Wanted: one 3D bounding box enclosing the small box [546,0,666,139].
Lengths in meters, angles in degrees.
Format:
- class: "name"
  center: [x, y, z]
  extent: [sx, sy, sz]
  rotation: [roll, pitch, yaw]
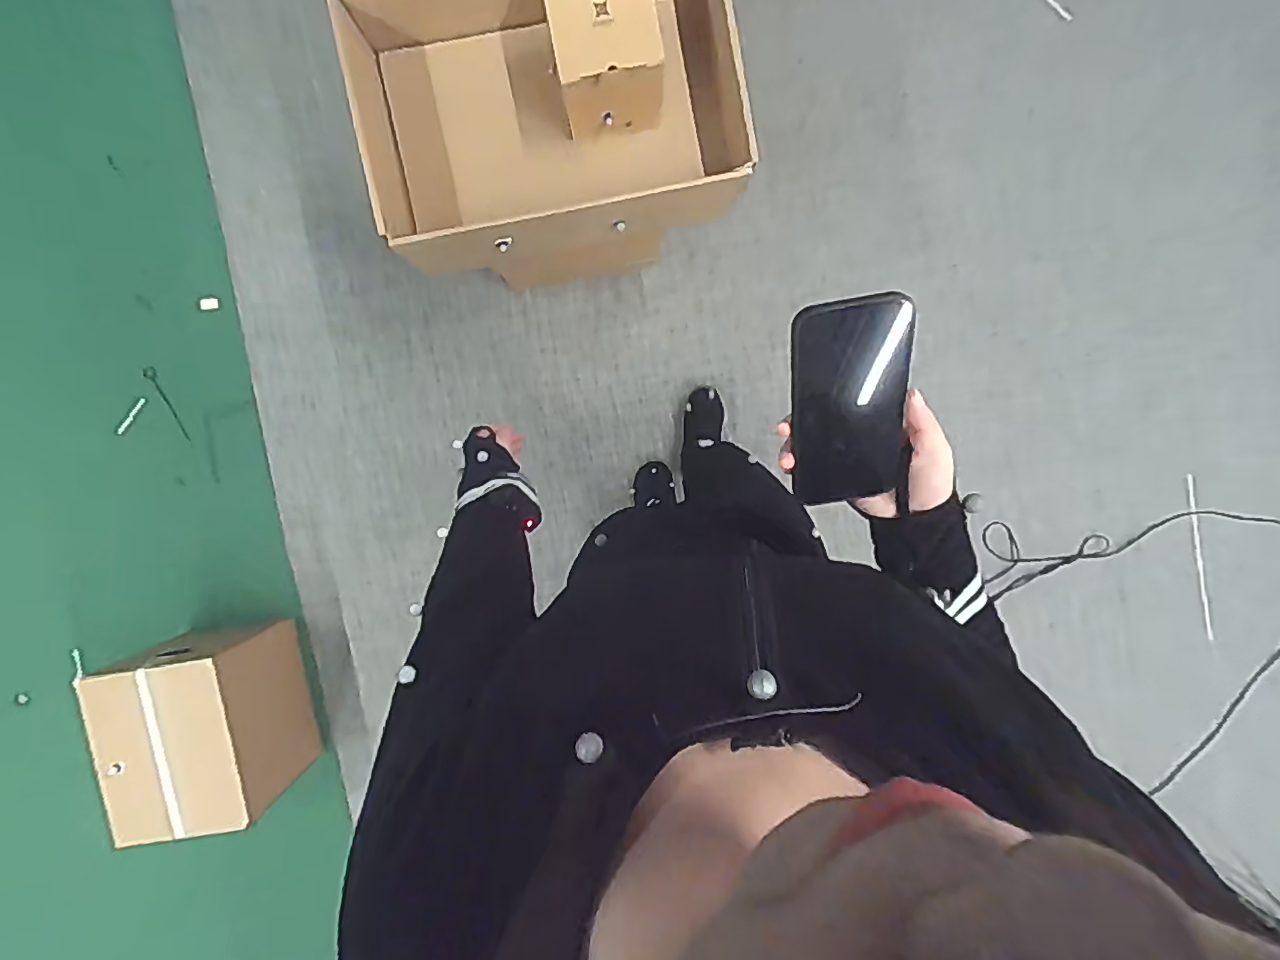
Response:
- class: "small box"
  center: [-0.056, -0.707, 0.890]
  extent: [0.168, 0.176, 0.179]
  rotation: [-11, 95, 1]
